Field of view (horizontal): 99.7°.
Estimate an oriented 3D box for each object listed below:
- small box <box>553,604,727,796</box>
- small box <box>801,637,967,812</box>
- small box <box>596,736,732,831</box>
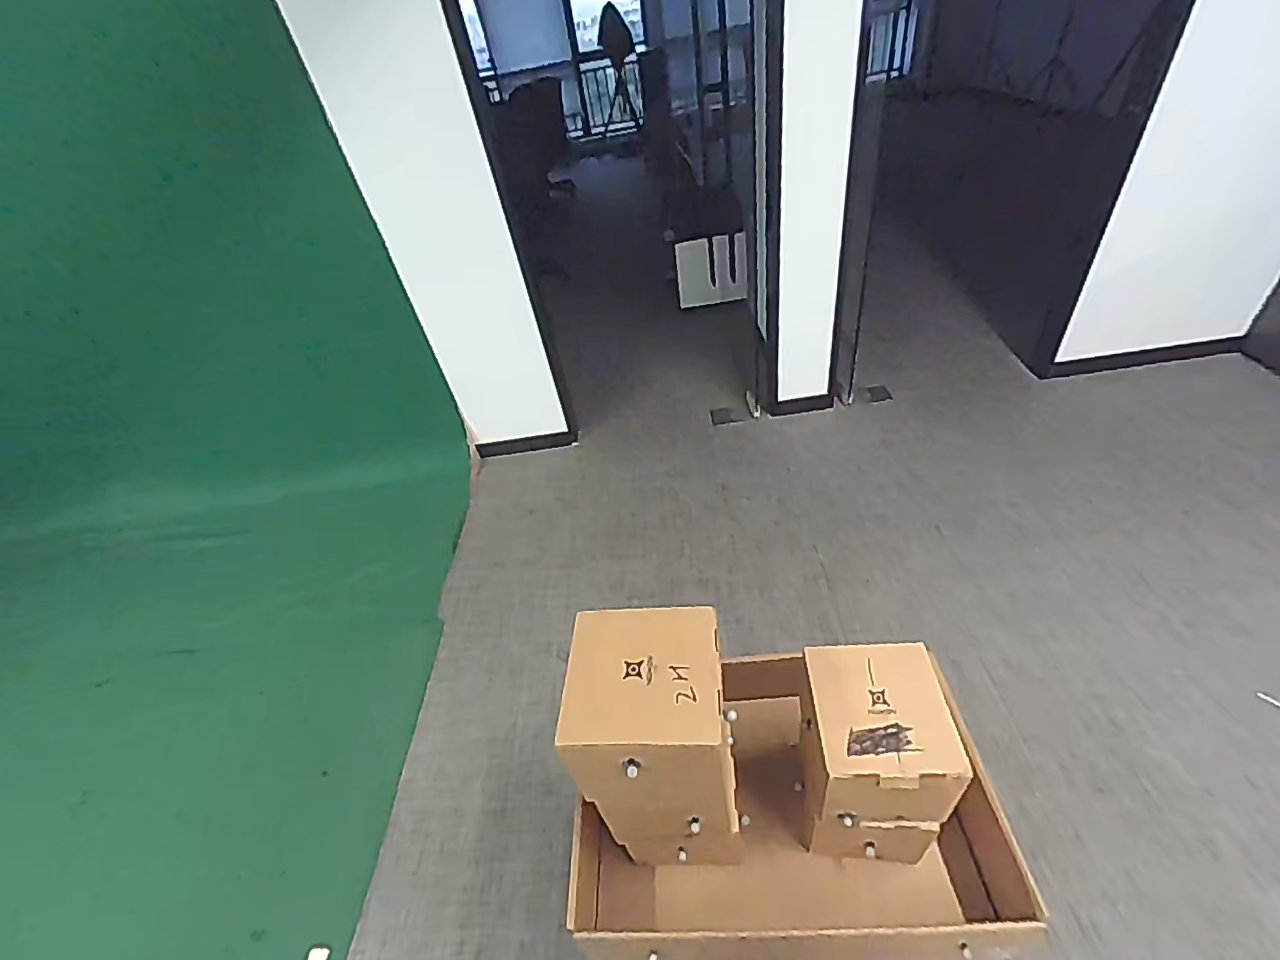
[{"bbox_3d":[0.012,0.272,0.664,0.179,0.176,0.168,-4,42,9],"label":"small box"},{"bbox_3d":[0.323,0.343,0.754,0.168,0.176,0.179,-5,41,9],"label":"small box"},{"bbox_3d":[0.040,0.388,0.778,0.168,0.176,0.179,-6,41,7],"label":"small box"}]
